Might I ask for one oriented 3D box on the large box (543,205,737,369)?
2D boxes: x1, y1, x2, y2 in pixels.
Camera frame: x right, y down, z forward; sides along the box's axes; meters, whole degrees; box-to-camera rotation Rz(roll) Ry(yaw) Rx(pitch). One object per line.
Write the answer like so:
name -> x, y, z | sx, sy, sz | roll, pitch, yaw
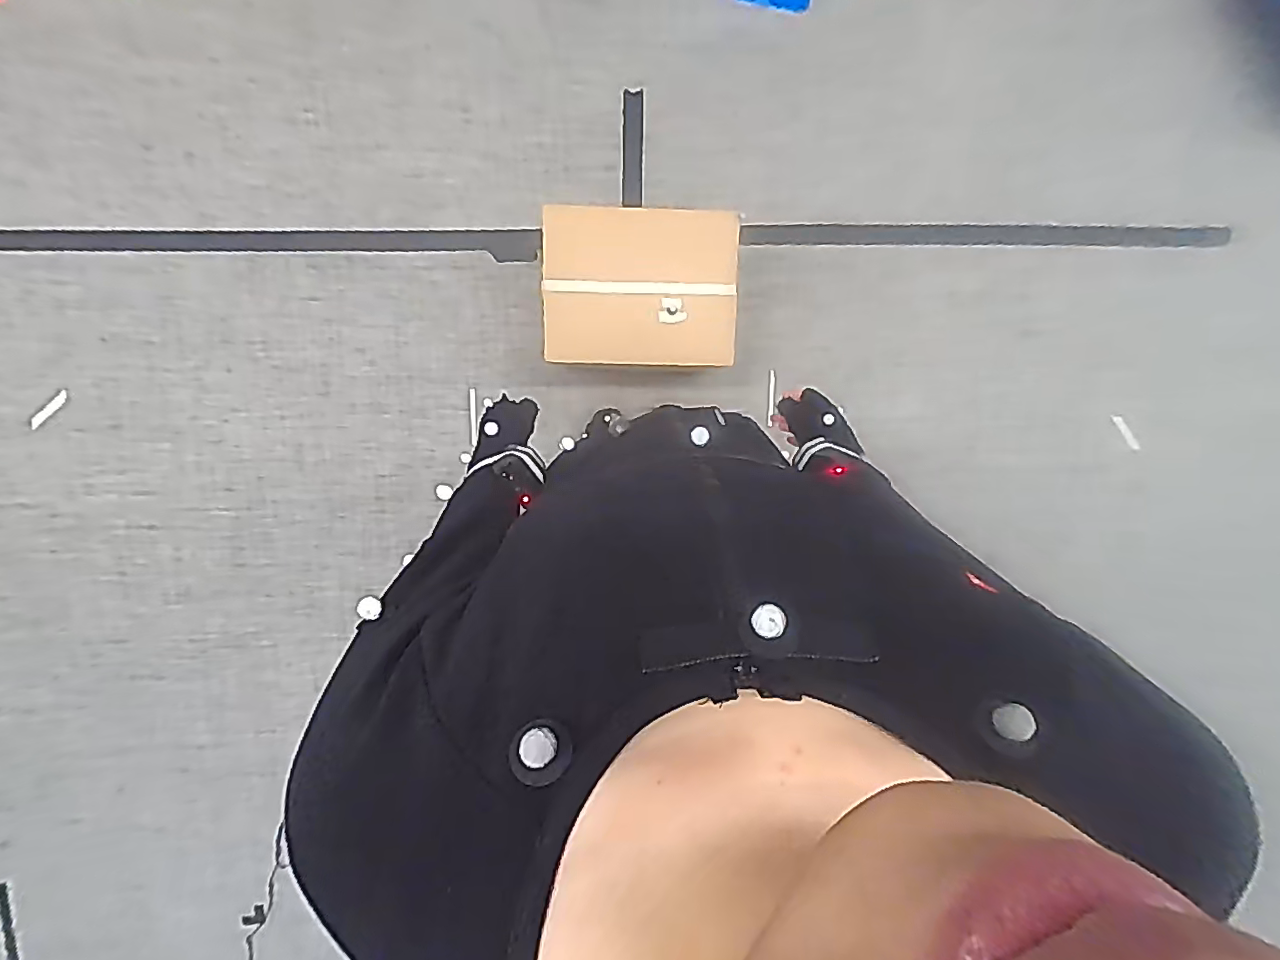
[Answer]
large box -> -0.008, -0.426, 1.270 | 0.408, 0.320, 0.320 | 0, 100, -4
